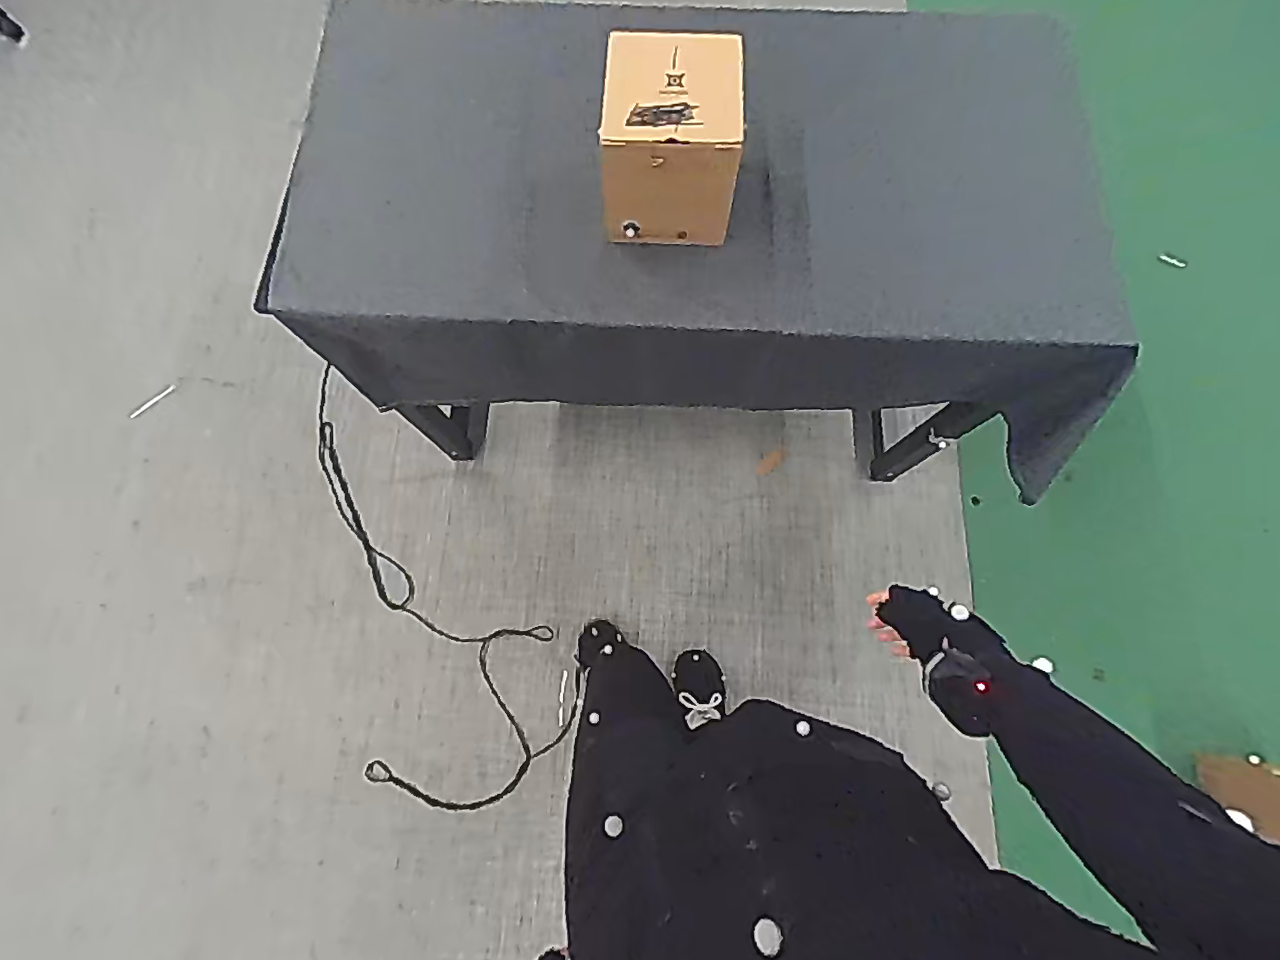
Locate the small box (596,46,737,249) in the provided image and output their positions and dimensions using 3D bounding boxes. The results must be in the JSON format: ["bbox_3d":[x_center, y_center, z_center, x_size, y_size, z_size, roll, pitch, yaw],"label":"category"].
[{"bbox_3d":[0.037,-0.436,0.728,0.168,0.176,0.179,2,73,1],"label":"small box"}]
